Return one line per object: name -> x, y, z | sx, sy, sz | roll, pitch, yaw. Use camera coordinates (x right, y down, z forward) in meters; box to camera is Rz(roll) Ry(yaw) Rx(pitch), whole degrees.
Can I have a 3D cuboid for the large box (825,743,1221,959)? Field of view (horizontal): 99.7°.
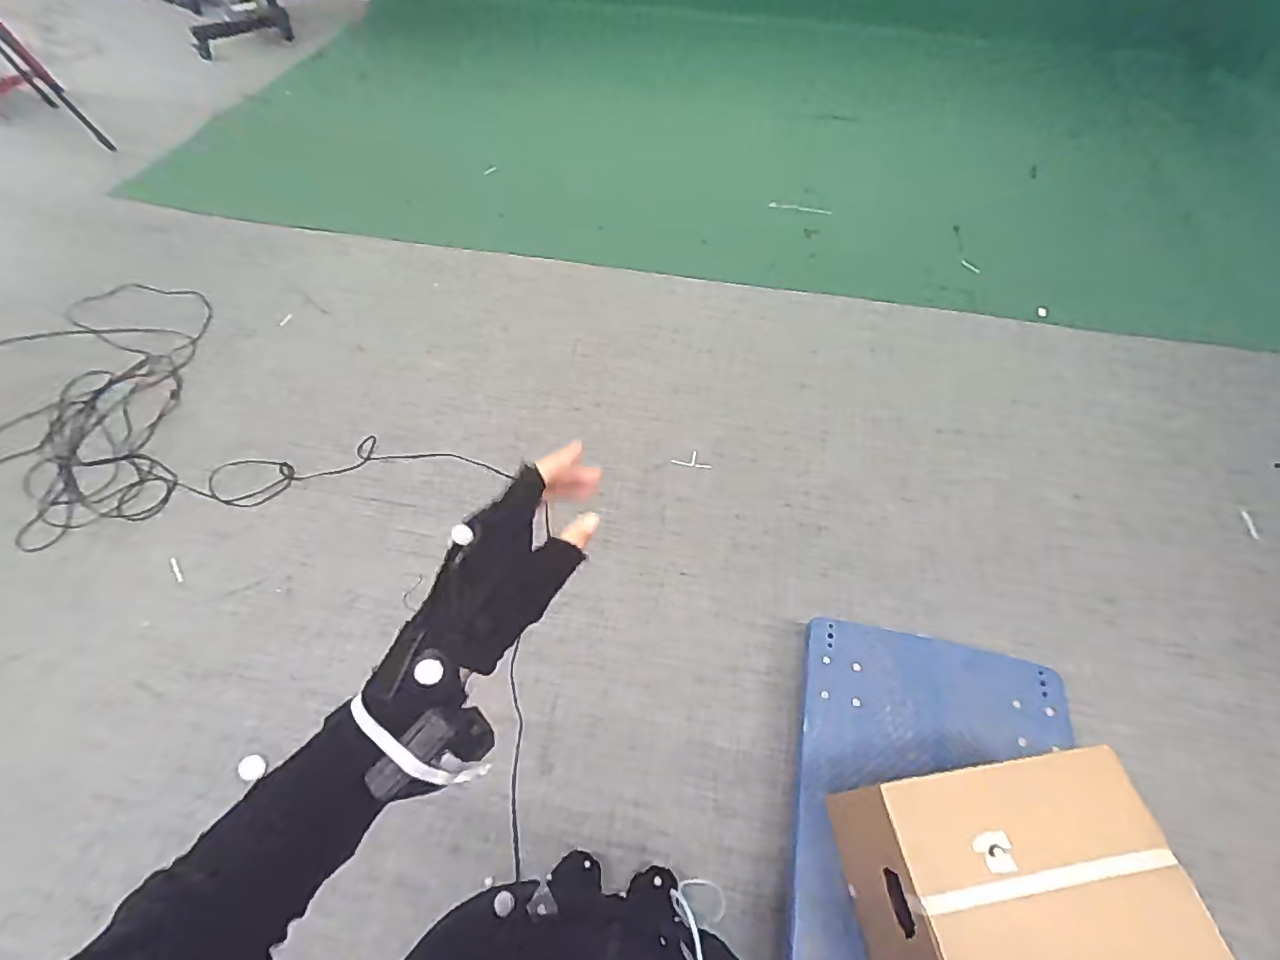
large box -> 0.594, 0.672, 0.924 | 0.408, 0.320, 0.320 | -8, 56, -4
